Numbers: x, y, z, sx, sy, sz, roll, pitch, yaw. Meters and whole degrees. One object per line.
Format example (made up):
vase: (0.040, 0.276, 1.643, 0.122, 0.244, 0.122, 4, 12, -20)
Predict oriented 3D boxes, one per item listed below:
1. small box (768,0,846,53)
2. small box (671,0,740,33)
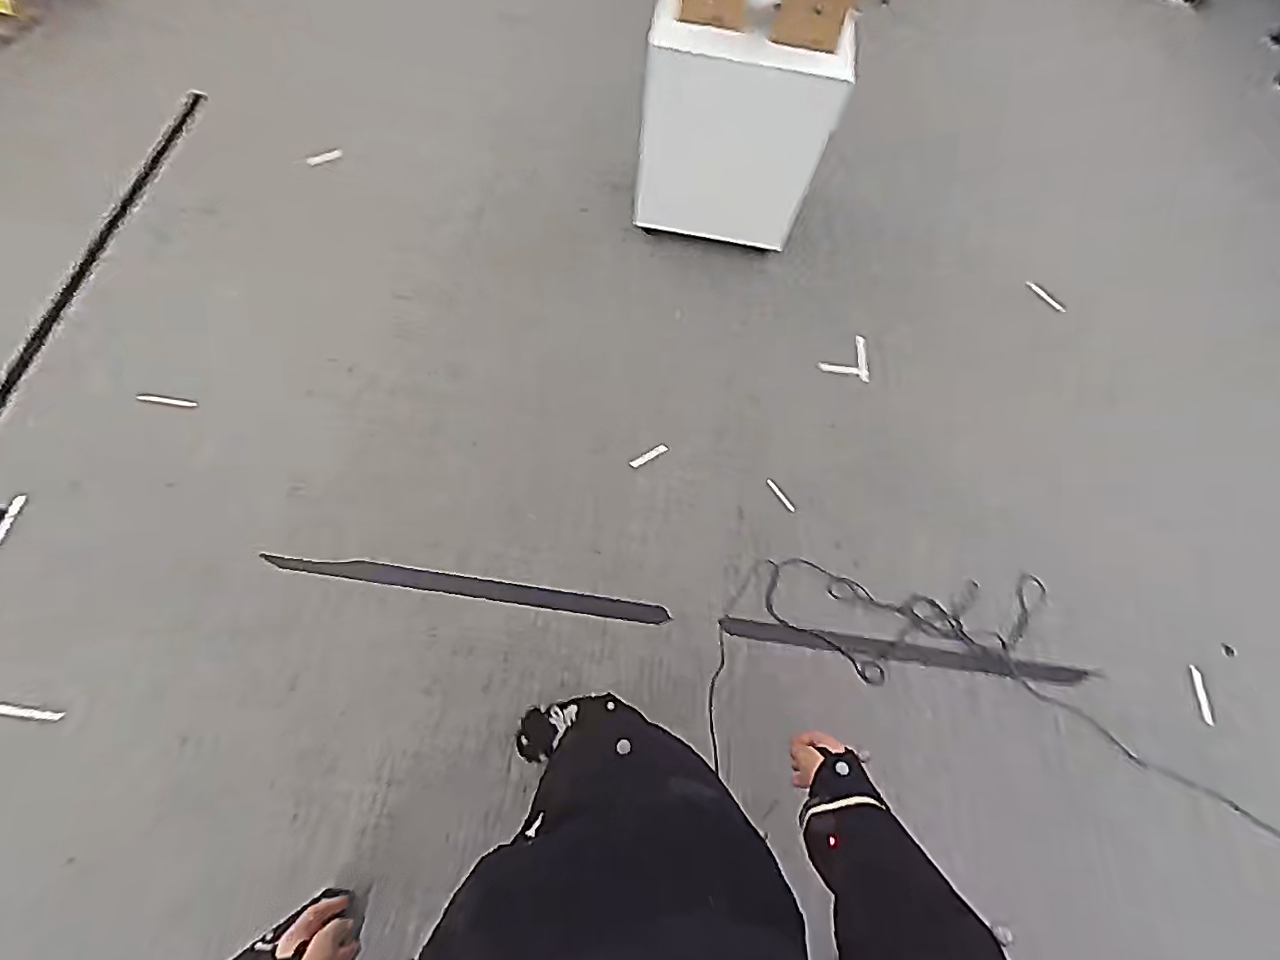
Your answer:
small box: (0.420, -1.206, 1.339, 0.168, 0.176, 0.179, 9, 68, 0)
small box: (0.172, -1.264, 1.340, 0.168, 0.176, 0.179, 7, 68, -3)
